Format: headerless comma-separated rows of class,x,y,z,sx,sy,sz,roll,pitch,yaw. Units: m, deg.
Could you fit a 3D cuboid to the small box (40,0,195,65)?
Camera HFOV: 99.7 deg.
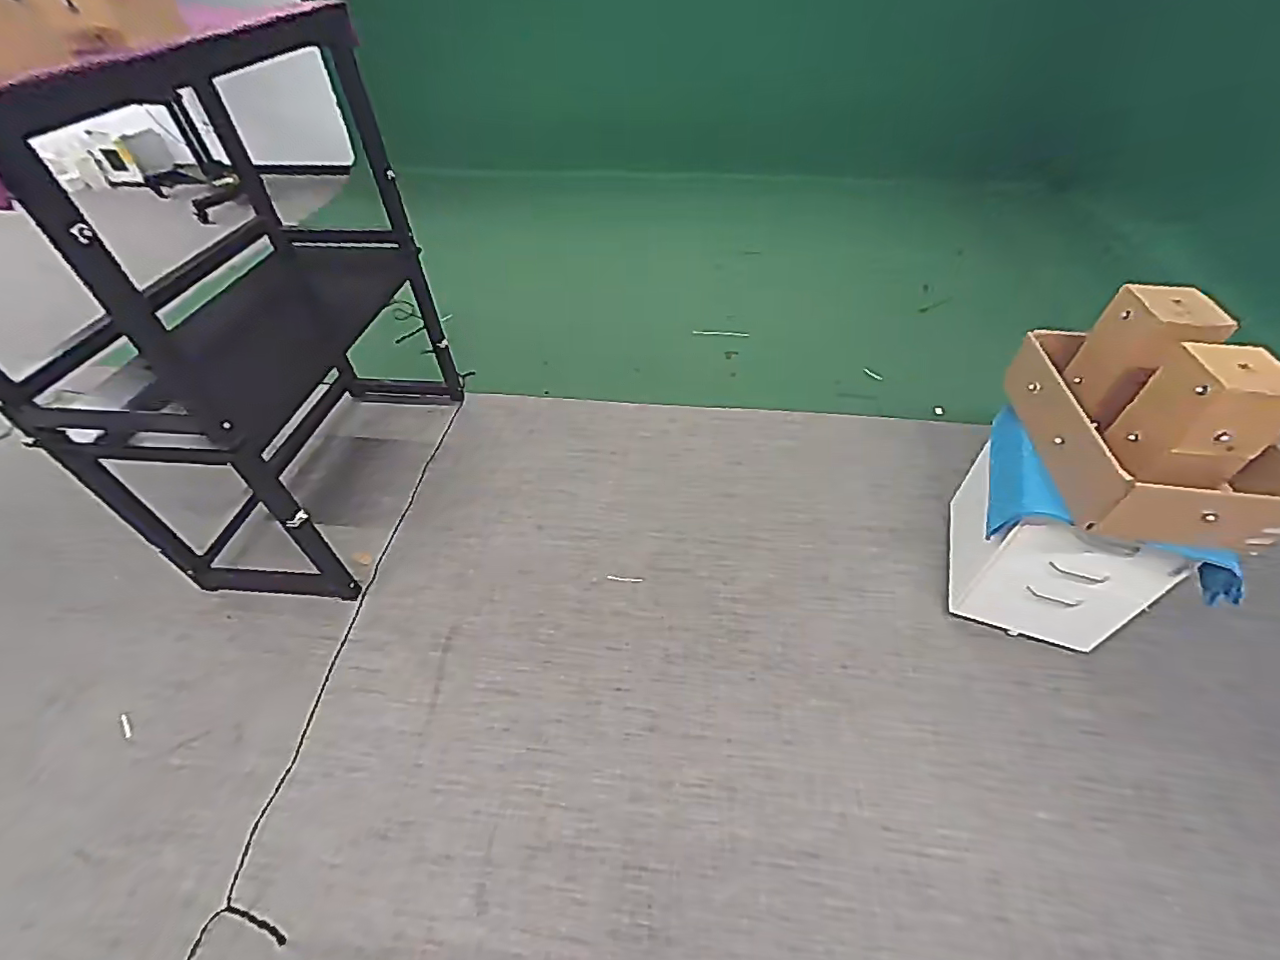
small box,-1.109,-0.995,1.142,0.168,0.176,0.179,5,47,9
